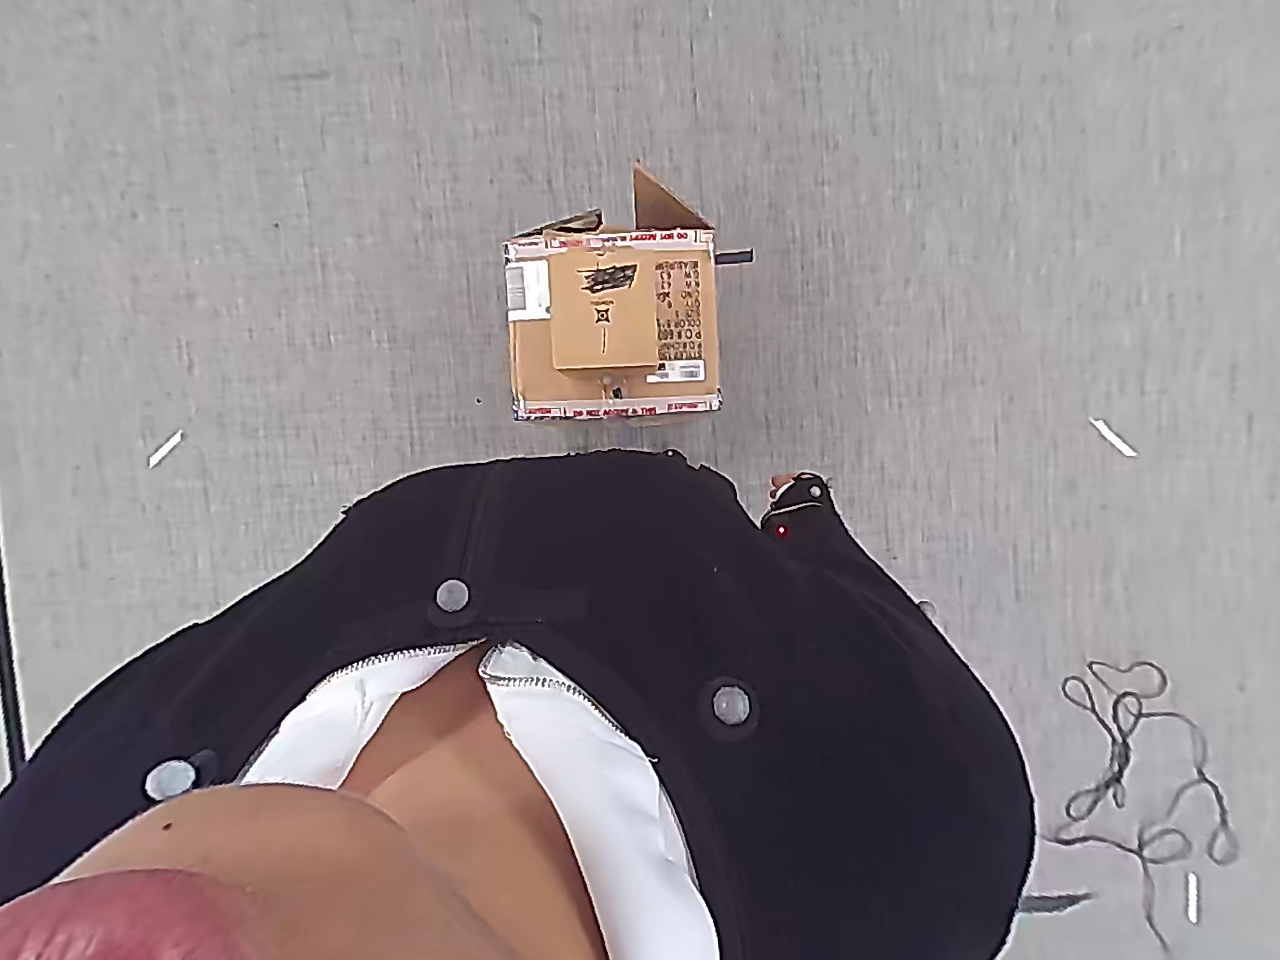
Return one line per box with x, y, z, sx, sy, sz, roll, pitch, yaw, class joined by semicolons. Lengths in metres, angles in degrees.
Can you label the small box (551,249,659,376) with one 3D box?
-0.054;-0.272;0.910;0.168;0.176;0.179;-2;96;1;small box
